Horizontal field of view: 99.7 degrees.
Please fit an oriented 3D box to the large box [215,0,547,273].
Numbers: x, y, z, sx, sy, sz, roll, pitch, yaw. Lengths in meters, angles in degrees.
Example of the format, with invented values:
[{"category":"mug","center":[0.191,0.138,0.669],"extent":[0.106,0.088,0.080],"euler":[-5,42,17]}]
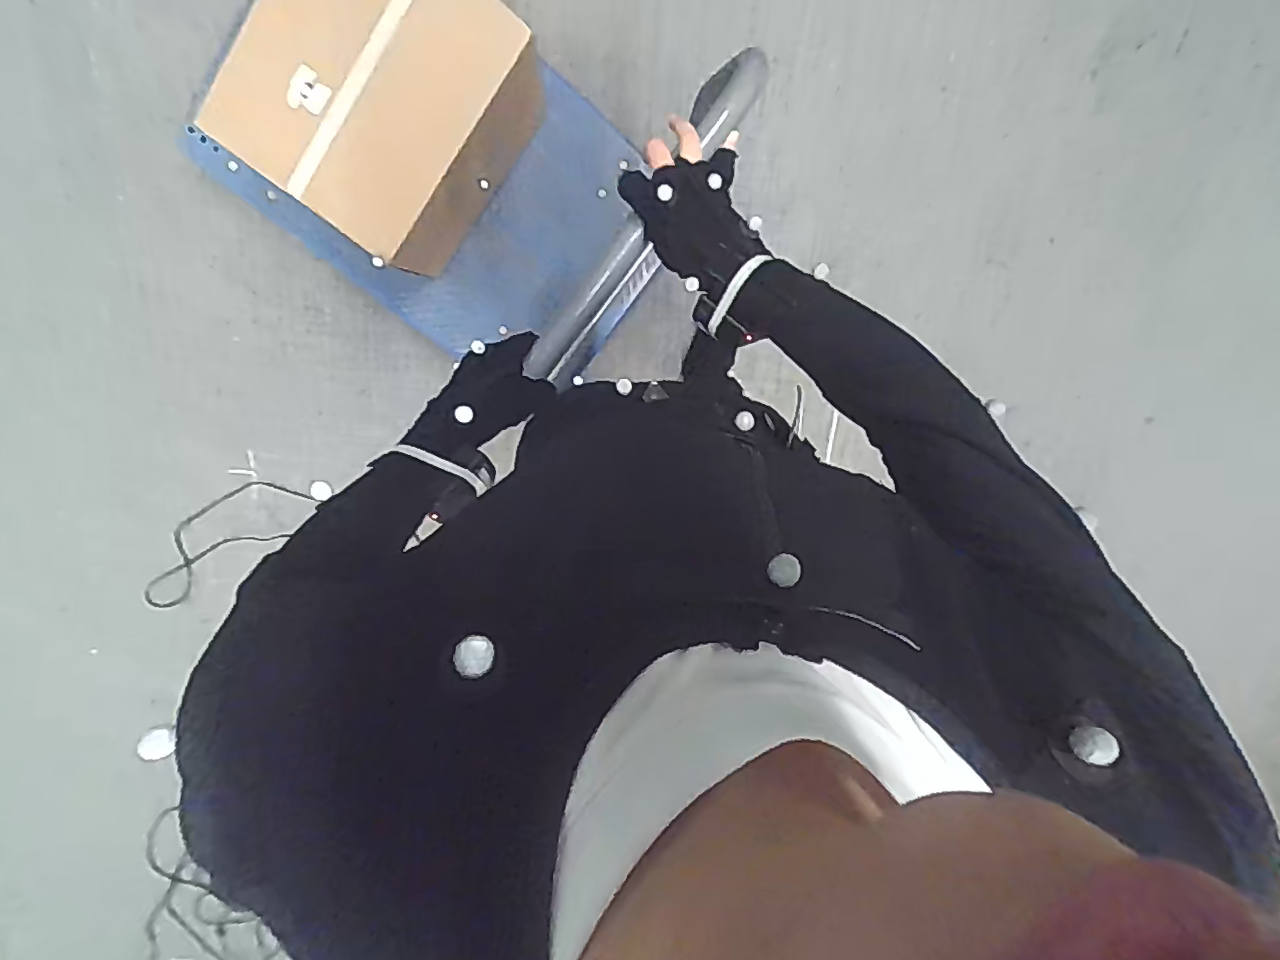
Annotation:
[{"category":"large box","center":[-0.400,-0.628,0.930],"extent":[0.320,0.320,0.408],"euler":[35,101,-14]}]
